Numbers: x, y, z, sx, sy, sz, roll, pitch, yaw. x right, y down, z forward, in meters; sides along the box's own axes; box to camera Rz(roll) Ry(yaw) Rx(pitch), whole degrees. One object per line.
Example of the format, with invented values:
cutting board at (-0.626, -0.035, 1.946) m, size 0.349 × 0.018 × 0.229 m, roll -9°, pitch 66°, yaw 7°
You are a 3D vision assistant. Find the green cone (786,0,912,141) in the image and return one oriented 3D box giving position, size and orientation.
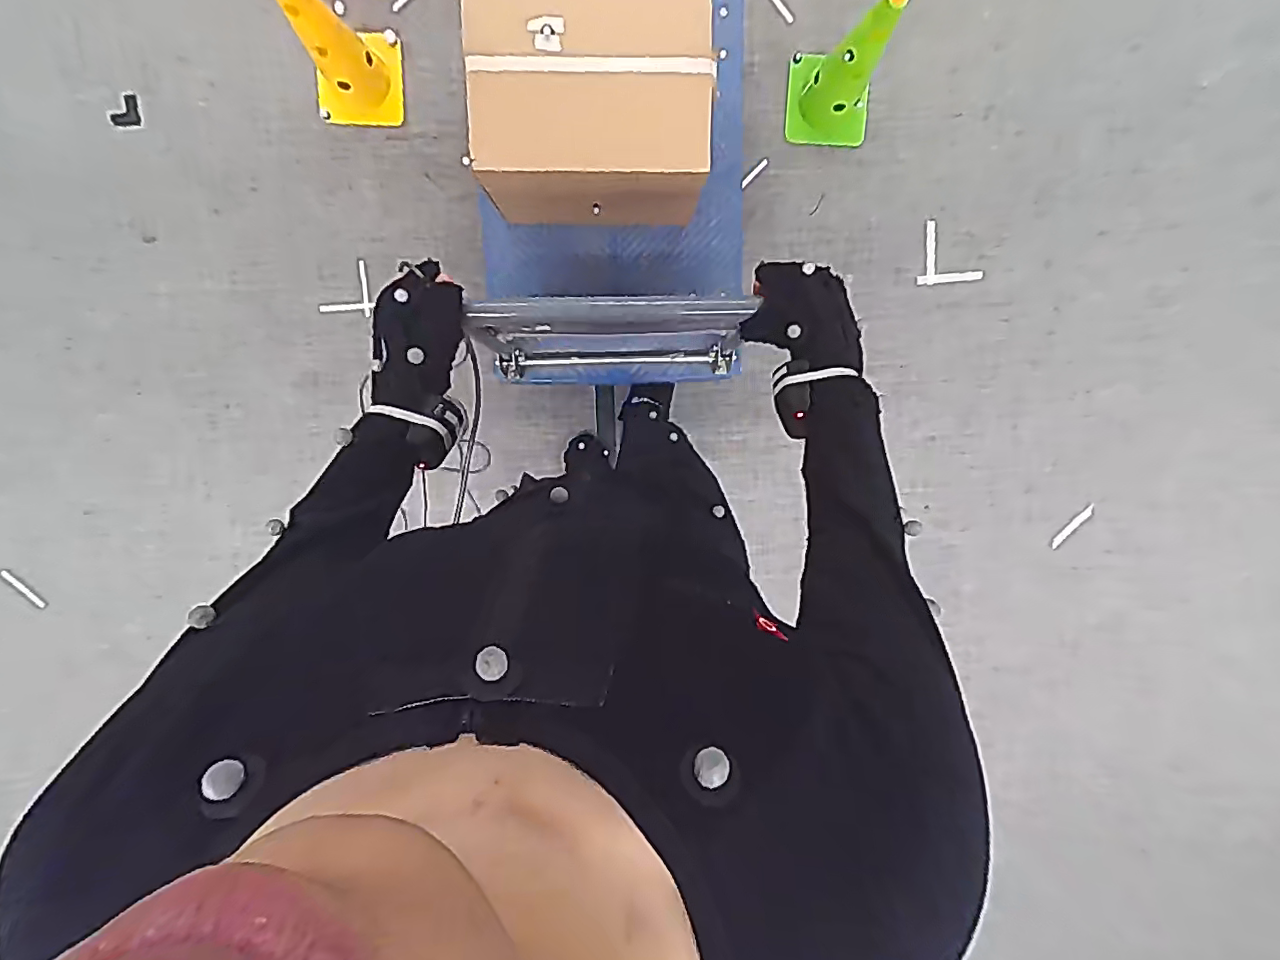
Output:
green cone at (0.472, -0.920, 1.161) m, size 0.202 × 0.368 × 0.200 m, roll 1°, pitch 99°, yaw -3°

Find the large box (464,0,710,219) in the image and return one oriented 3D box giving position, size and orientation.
large box at (-0.085, -0.703, 1.032) m, size 0.408 × 0.320 × 0.320 m, roll 0°, pitch 100°, yaw -1°
